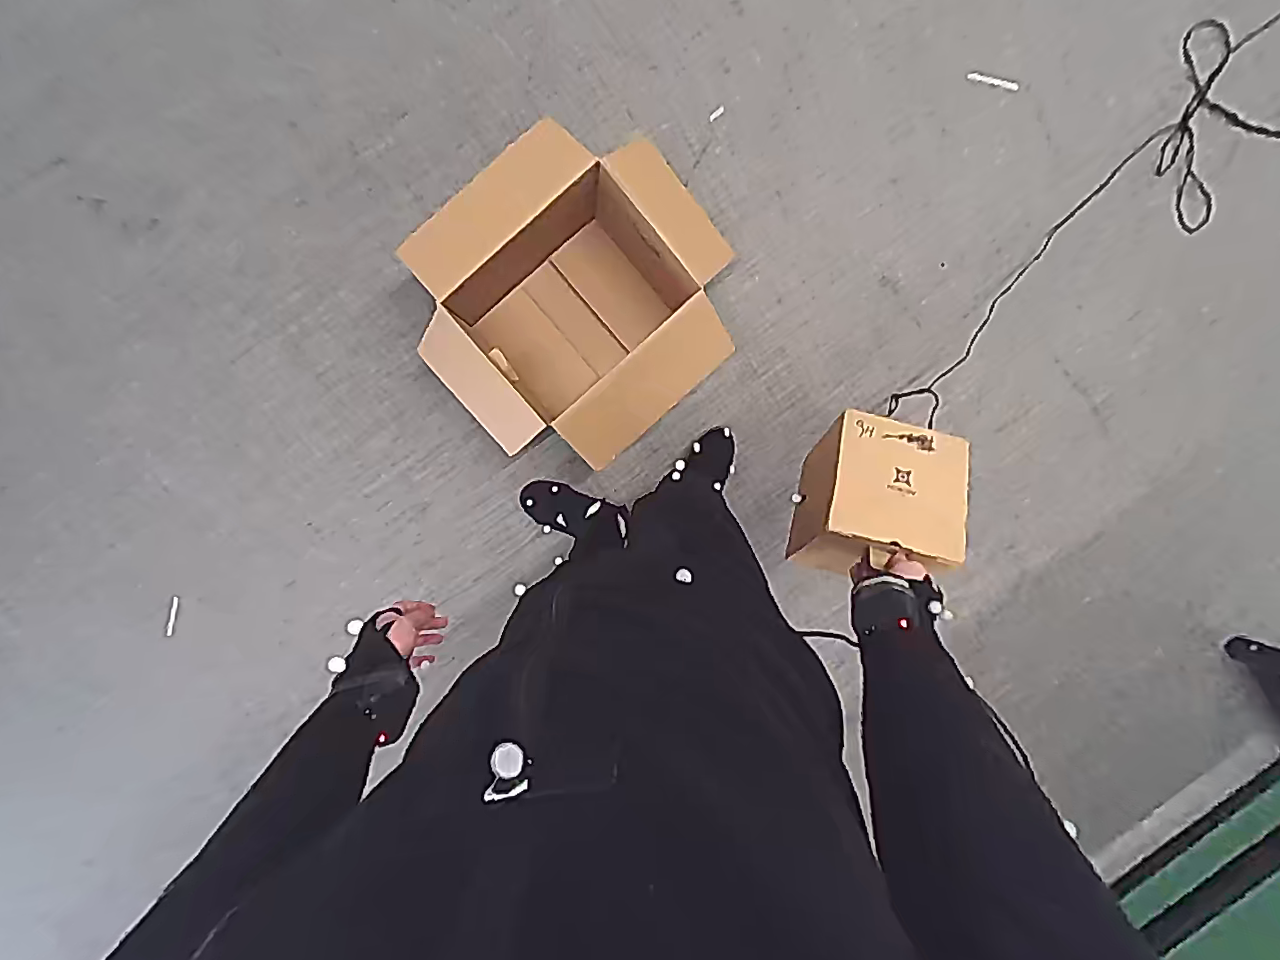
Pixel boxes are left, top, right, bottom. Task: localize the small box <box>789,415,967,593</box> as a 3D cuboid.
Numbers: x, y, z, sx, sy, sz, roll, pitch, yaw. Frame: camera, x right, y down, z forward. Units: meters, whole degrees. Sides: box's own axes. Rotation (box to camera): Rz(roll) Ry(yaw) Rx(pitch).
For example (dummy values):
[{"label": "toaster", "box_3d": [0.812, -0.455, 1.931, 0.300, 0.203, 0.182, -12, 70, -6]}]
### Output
[{"label": "small box", "box_3d": [0.317, 0.042, 0.748, 0.168, 0.176, 0.179, 17, 67, 4]}]
